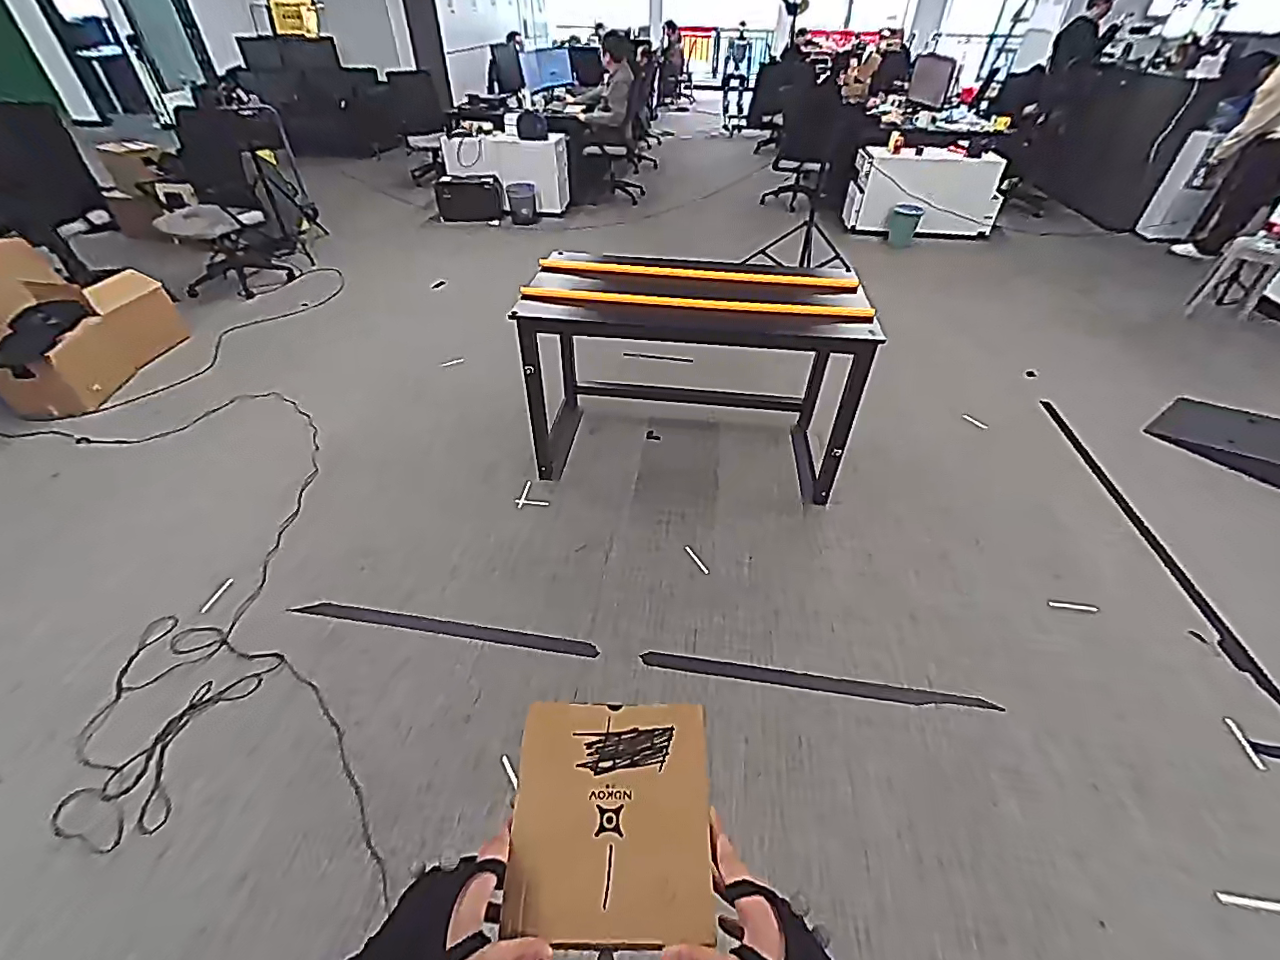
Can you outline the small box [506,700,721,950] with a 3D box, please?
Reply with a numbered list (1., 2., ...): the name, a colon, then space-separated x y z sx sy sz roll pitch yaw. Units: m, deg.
1. small box: -0.019 0.331 0.520 0.168 0.176 0.179 0 48 1
